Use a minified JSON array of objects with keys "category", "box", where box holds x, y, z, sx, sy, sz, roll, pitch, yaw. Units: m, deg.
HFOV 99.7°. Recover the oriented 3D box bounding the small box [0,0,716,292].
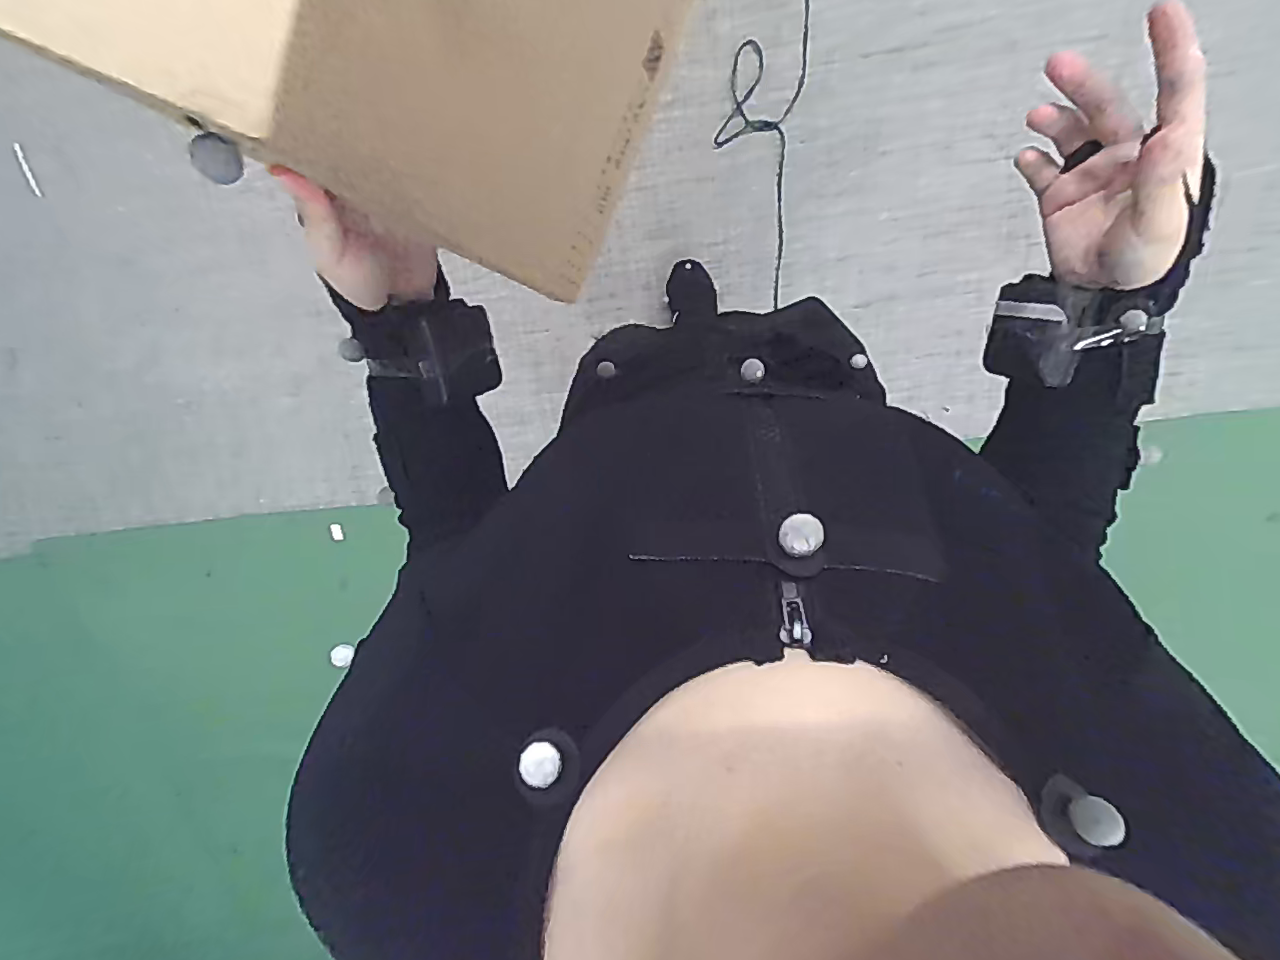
[{"category":"small box","box":[-0.089,-0.185,0.193,0.179,0.176,0.168,26,103,12]}]
